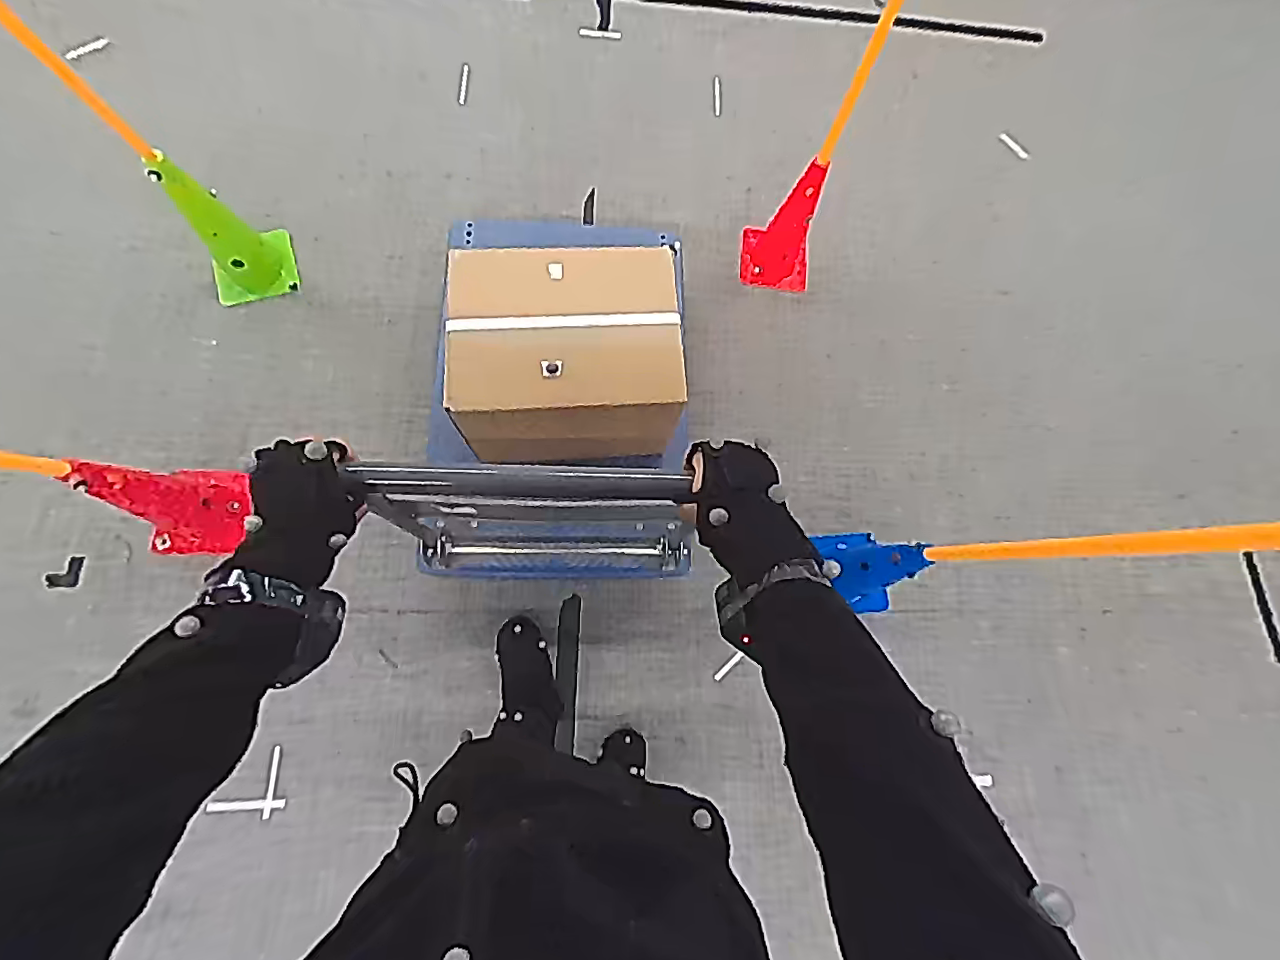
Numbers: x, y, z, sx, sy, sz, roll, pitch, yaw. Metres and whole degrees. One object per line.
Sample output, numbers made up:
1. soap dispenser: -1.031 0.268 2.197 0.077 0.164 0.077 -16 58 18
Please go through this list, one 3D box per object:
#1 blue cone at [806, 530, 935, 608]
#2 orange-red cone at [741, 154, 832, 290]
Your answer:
1. blue cone: 0.536 0.177 1.211 0.193 0.380 0.192 -2 74 -6
2. orange-red cone: 0.417 -0.700 1.427 0.199 0.360 0.198 8 75 -4
